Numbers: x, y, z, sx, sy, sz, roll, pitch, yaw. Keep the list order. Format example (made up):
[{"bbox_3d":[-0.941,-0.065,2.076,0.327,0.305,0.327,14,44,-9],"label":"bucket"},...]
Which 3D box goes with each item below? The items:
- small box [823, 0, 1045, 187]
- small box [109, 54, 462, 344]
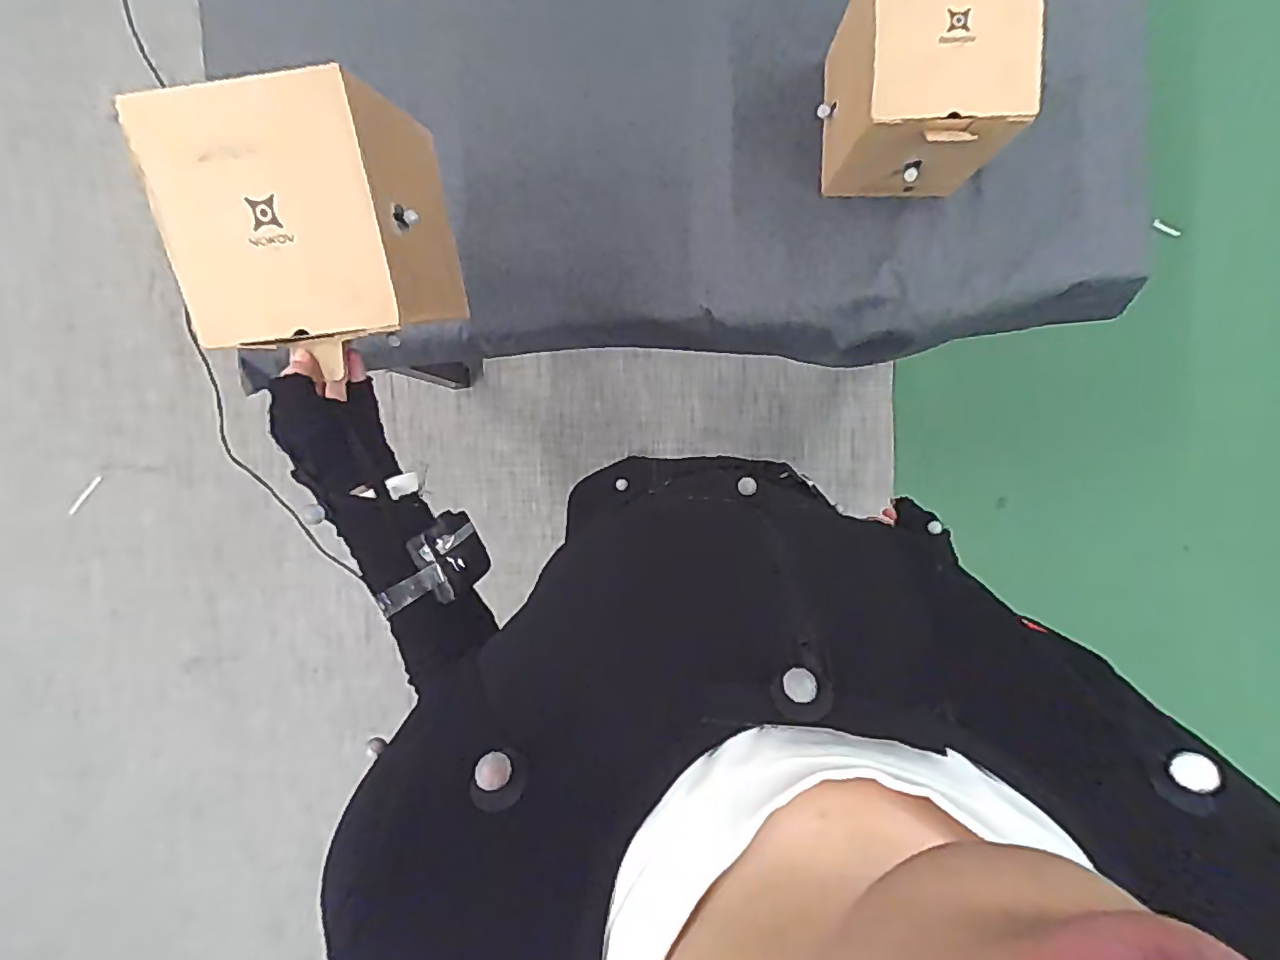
[{"bbox_3d":[0.315,-0.454,0.612,0.168,0.176,0.179,1,95,1],"label":"small box"},{"bbox_3d":[-0.270,-0.221,0.465,0.168,0.176,0.179,-6,108,3],"label":"small box"}]
